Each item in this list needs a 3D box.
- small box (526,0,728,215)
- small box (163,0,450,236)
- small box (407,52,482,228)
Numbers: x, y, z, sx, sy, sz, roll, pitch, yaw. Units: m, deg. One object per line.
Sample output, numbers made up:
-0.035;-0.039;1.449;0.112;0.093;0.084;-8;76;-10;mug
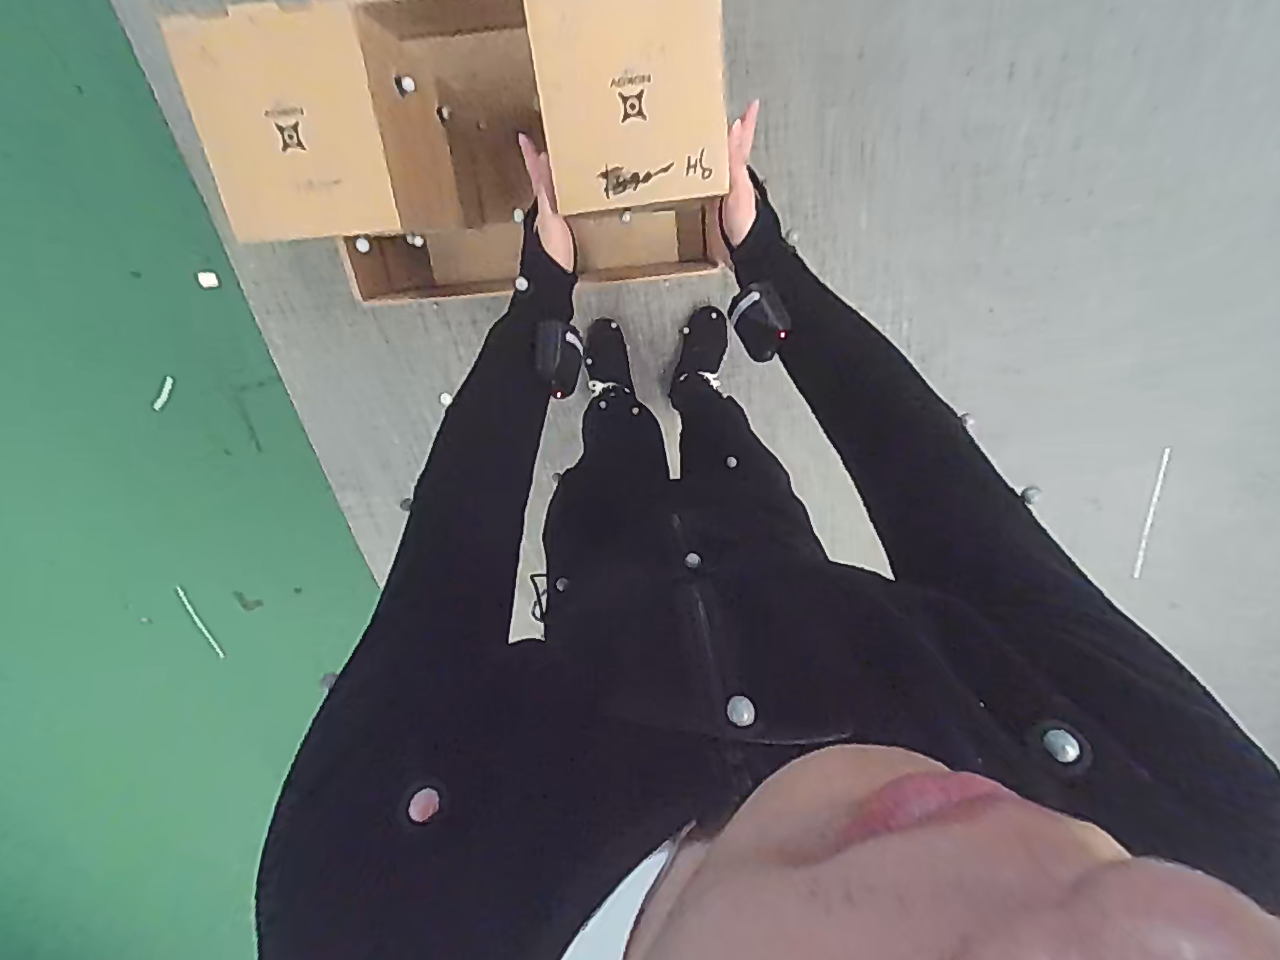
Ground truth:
-0.009;-0.374;0.542;0.168;0.176;0.179;-6;114;2;small box
-0.317;-0.354;0.561;0.168;0.176;0.179;-3;115;2;small box
-0.319;-0.426;0.708;0.168;0.176;0.179;-3;116;2;small box
